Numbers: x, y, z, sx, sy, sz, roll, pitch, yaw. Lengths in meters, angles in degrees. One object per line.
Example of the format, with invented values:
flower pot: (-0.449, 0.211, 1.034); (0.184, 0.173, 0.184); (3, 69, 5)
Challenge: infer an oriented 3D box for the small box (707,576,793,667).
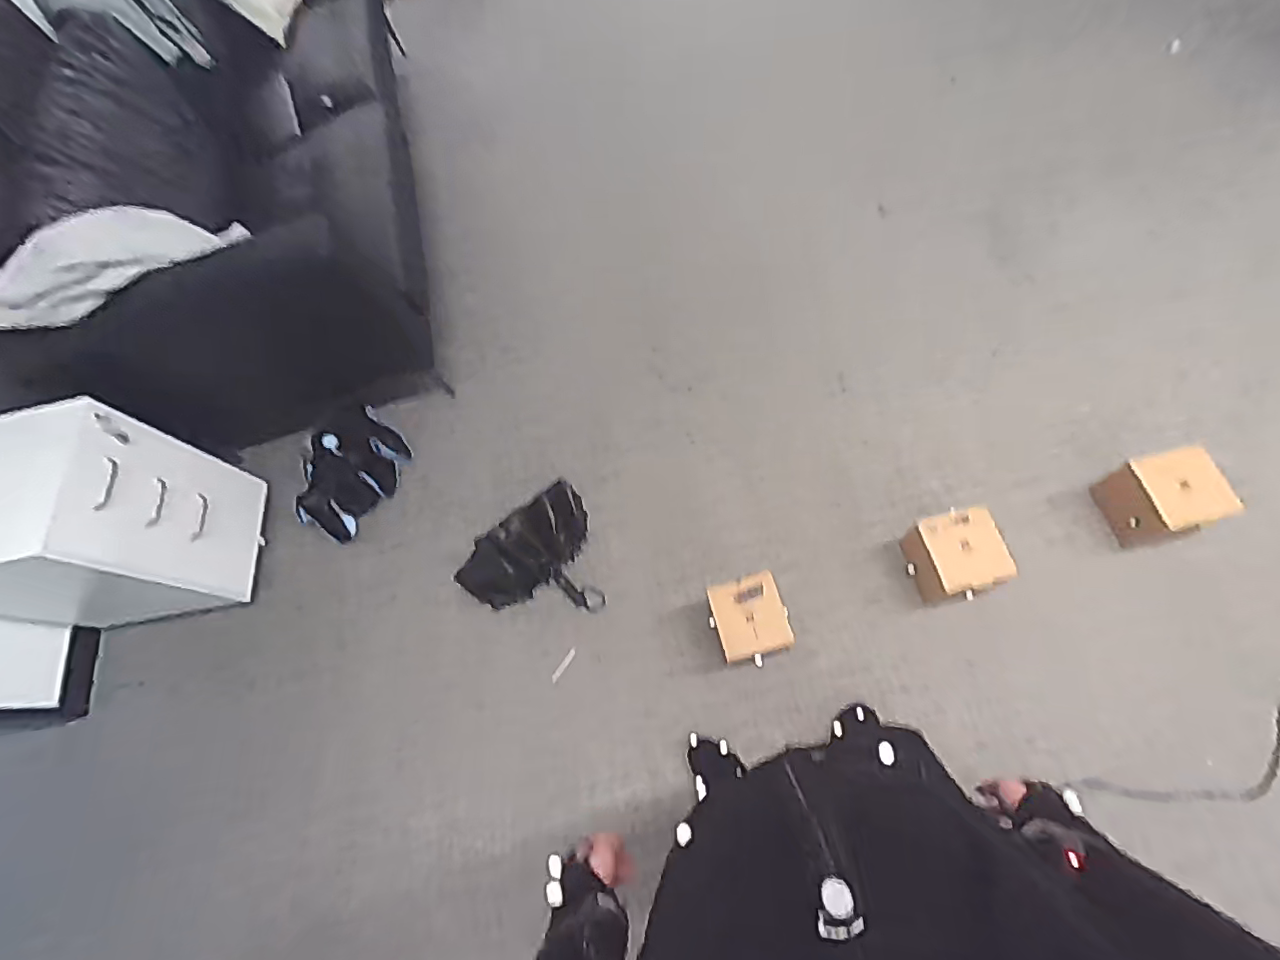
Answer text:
small box: (0.273, 0.363, 1.369); (0.168, 0.176, 0.179); (-17, 67, 4)

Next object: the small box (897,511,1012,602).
small box: (0.769, 0.199, 1.343); (0.168, 0.176, 0.179); (-15, 66, 5)

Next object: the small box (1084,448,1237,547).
small box: (1.247, 0.052, 1.312); (0.168, 0.176, 0.179); (-15, 65, 4)
